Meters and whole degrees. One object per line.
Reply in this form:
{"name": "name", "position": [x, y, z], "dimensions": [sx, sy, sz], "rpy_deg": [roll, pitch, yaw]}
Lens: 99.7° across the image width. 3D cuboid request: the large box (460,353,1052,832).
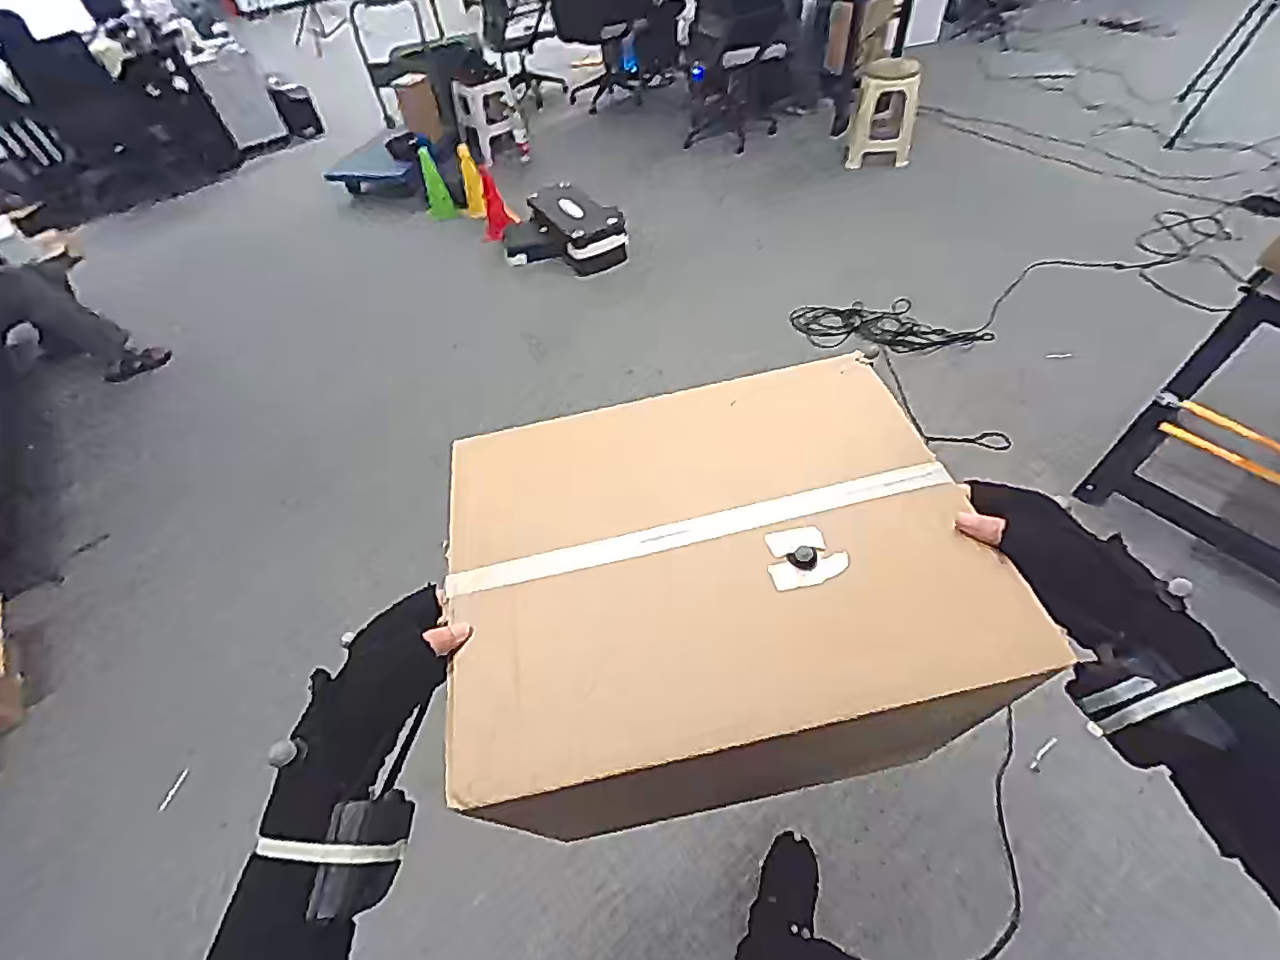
{"name": "large box", "position": [0.064, 0.124, 0.552], "dimensions": [0.408, 0.320, 0.320], "rpy_deg": [-12, 53, -2]}
